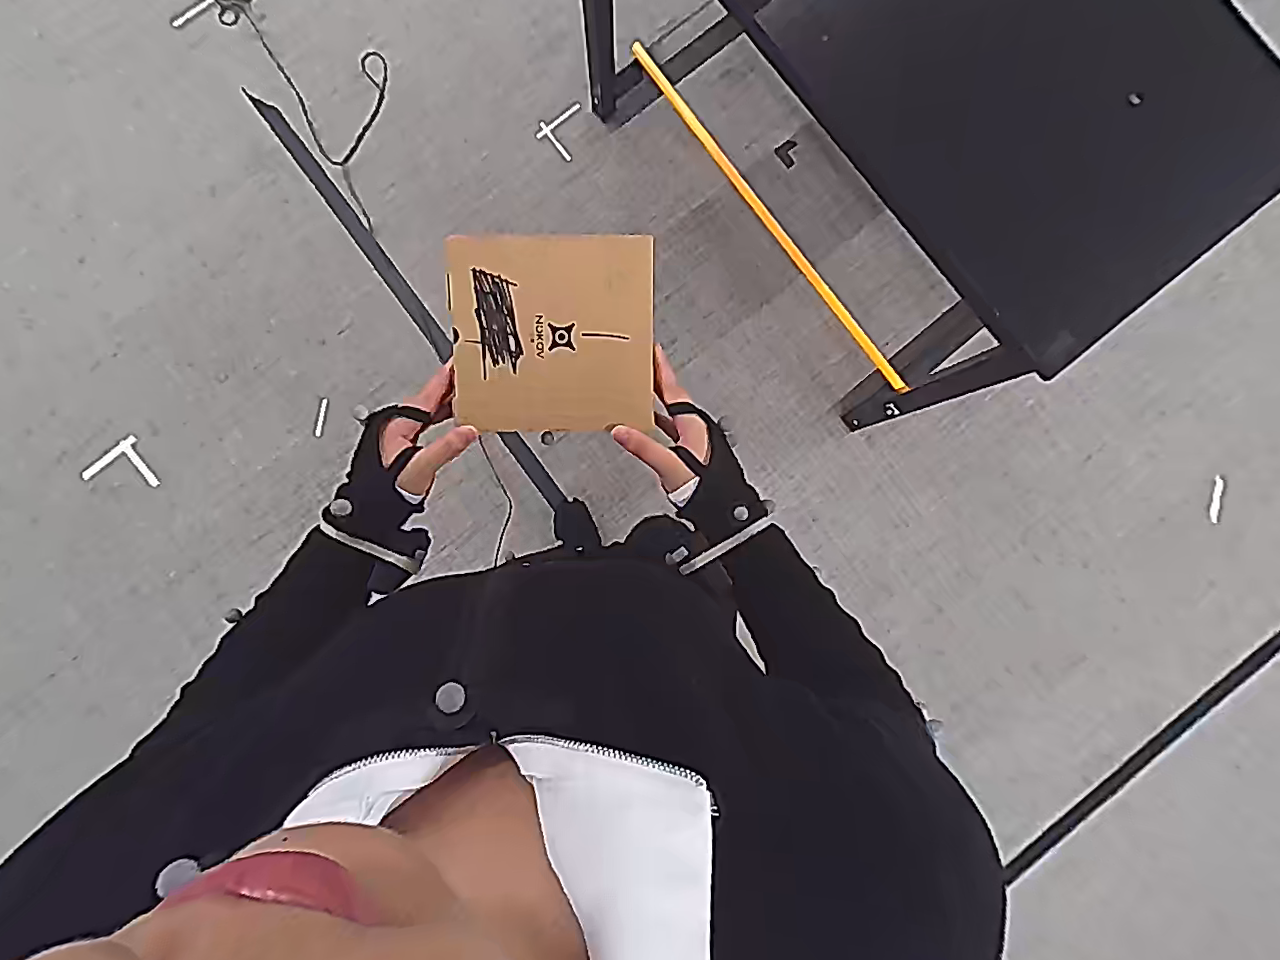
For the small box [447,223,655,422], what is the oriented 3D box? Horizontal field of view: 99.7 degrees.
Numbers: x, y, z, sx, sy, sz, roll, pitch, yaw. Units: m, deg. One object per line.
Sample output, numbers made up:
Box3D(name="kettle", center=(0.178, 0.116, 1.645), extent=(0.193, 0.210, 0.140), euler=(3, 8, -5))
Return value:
Box3D(name="small box", center=(-0.077, -0.142, 0.540), extent=(0.179, 0.176, 0.168), euler=(0, 98, -2))
